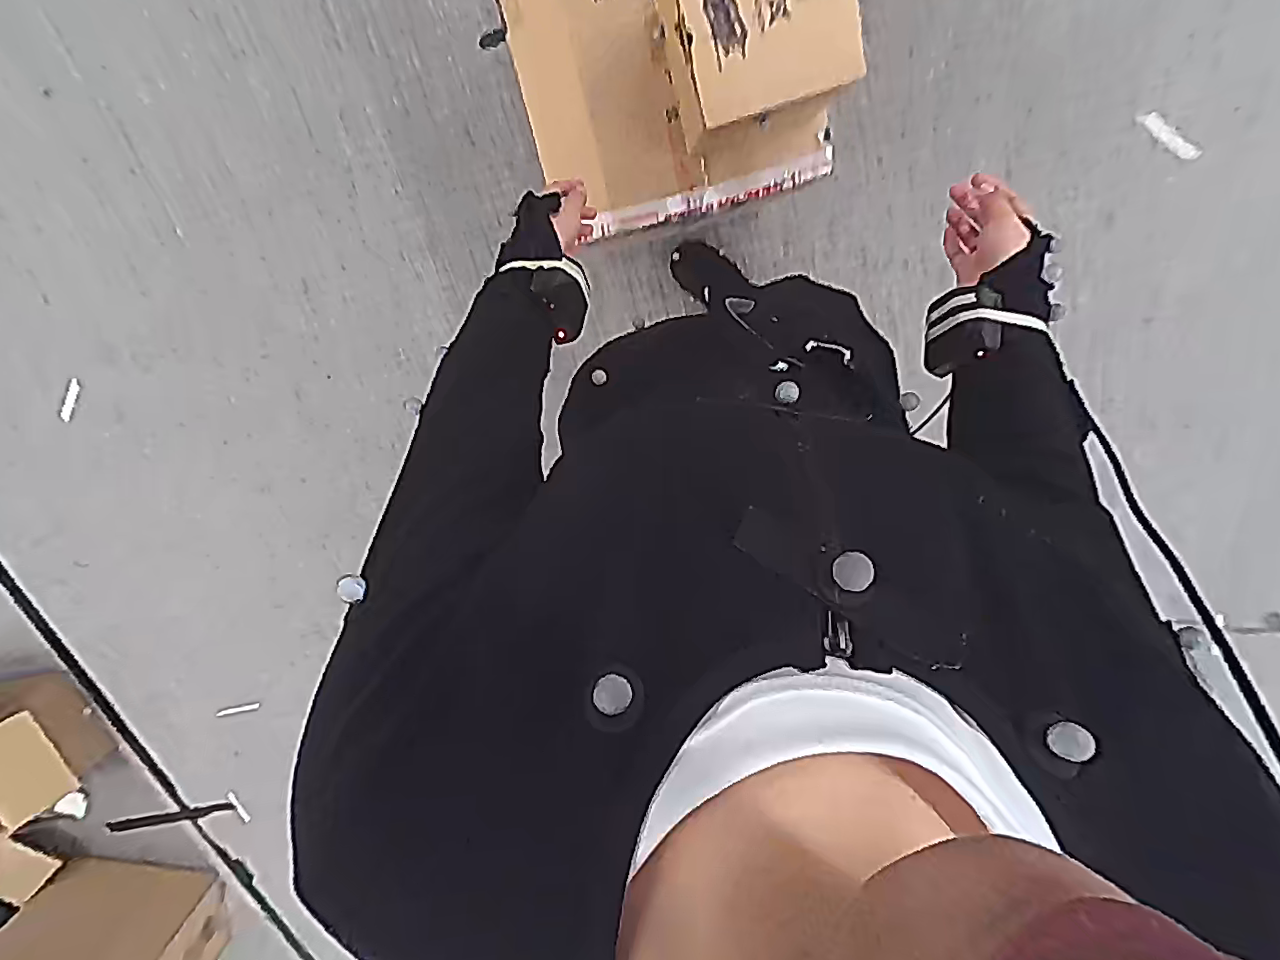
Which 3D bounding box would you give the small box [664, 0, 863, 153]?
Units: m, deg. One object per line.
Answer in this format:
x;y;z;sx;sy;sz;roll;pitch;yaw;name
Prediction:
0.128;-0.497;0.615;0.179;0.176;0.168;-15;112;5;small box
